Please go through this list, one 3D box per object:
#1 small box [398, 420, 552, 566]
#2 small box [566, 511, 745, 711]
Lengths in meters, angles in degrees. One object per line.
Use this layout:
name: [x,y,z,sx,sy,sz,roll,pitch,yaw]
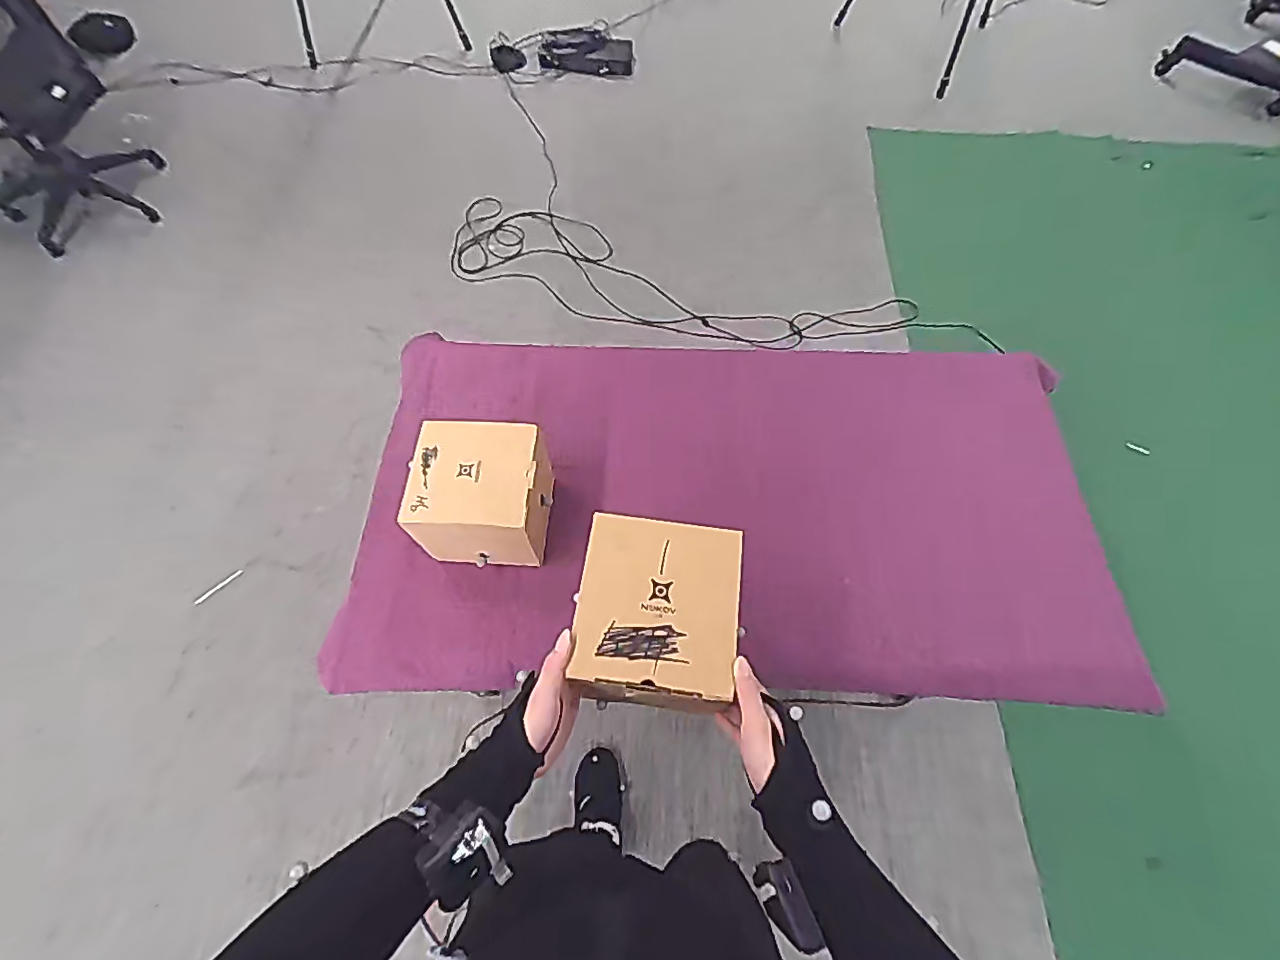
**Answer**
small box: [-0.235,0.027,0.828,0.179,0.176,0.168,4,63,0]
small box: [0.020,0.157,0.618,0.168,0.176,0.179,8,62,2]
